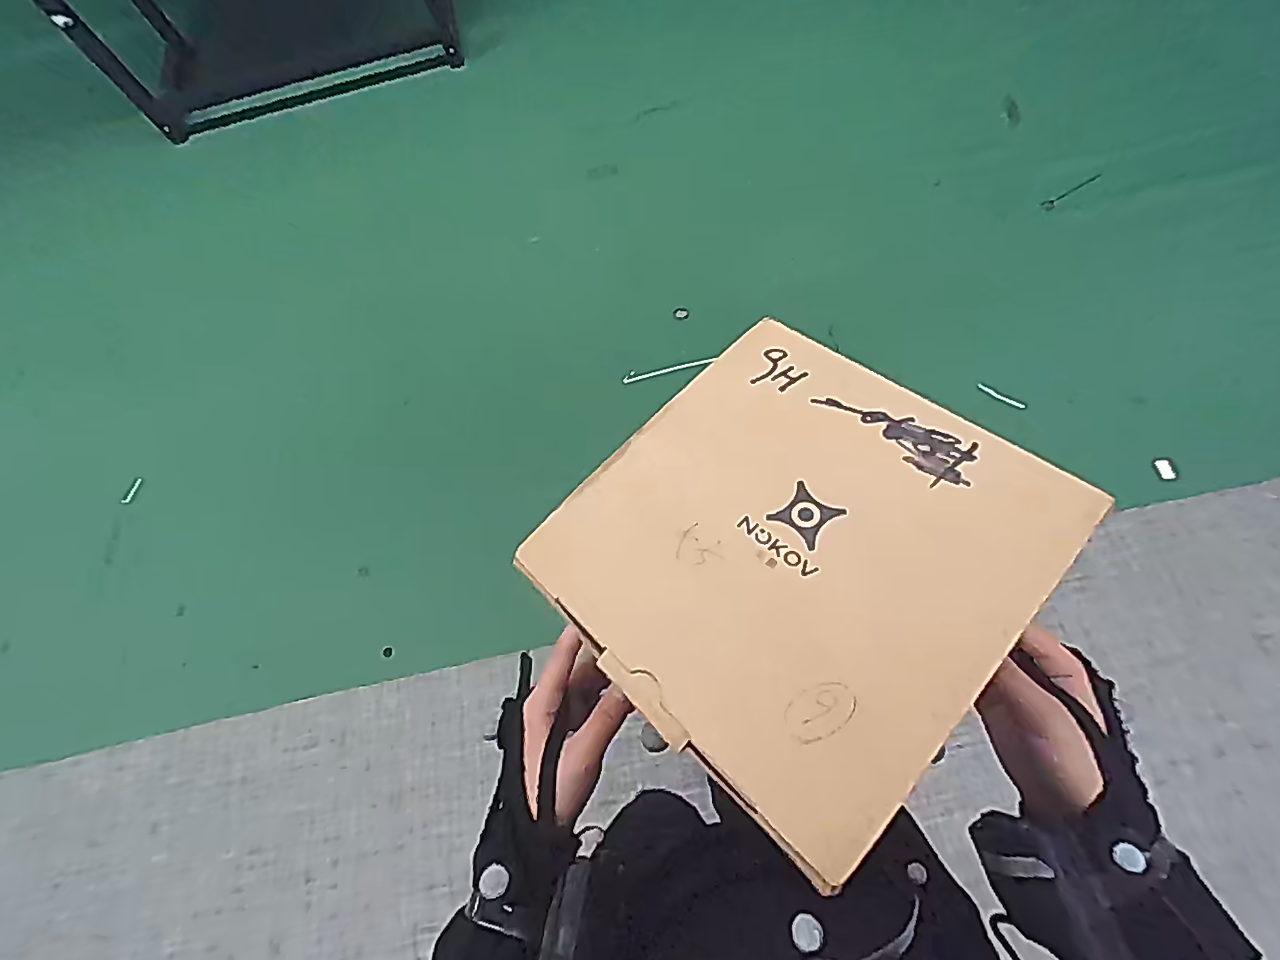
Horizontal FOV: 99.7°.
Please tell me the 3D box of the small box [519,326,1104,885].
[{"bbox_3d":[0.075,0.062,0.287,0.179,0.176,0.168,-44,61,-14],"label":"small box"}]
